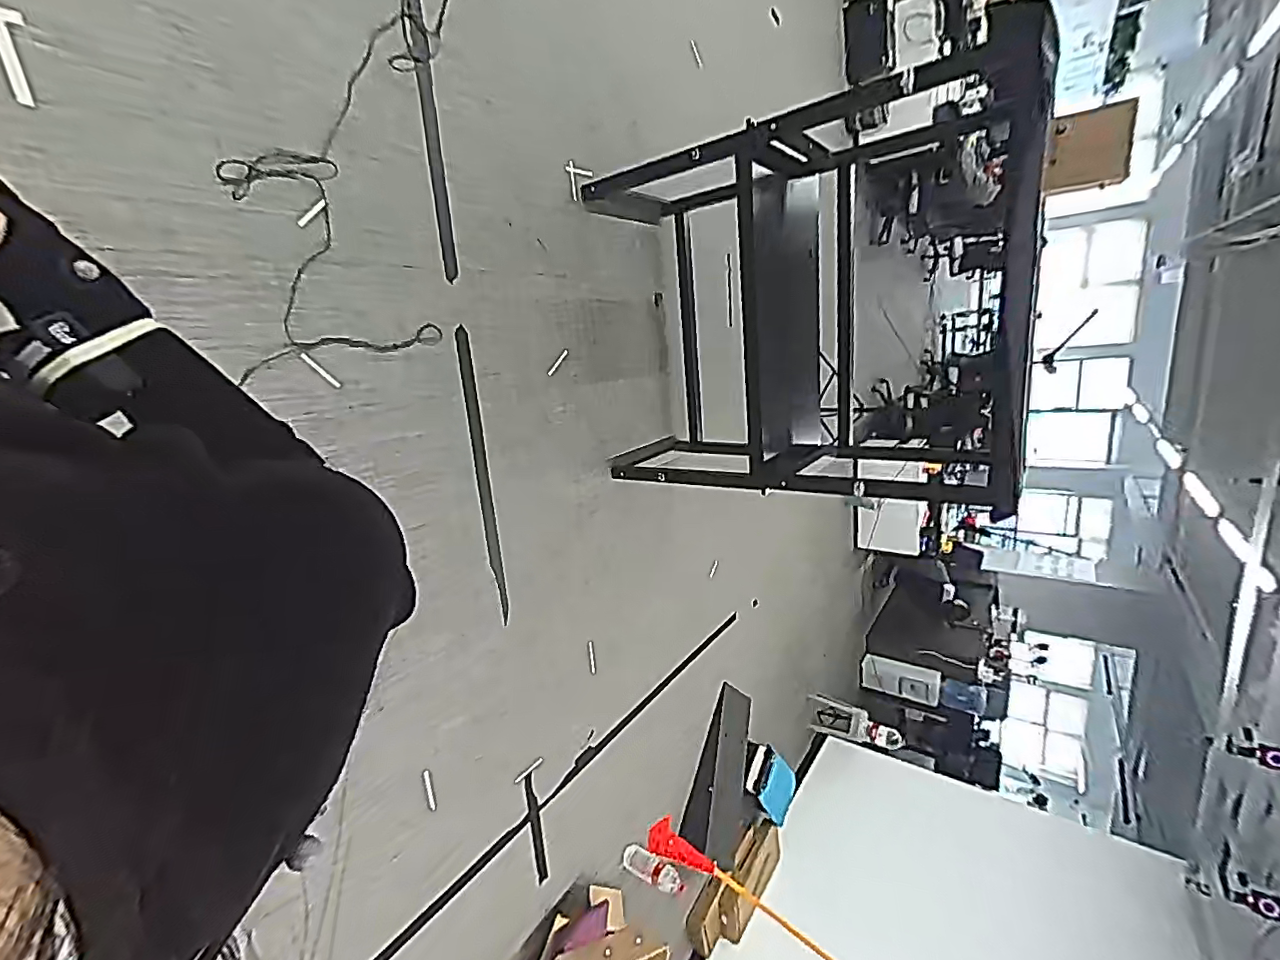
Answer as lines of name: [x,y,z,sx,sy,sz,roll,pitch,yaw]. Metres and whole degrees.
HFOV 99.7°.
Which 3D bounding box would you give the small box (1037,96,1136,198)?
small box: [1.090,-0.808,1.333,0.179,0.176,0.168,-28,117,-51]
